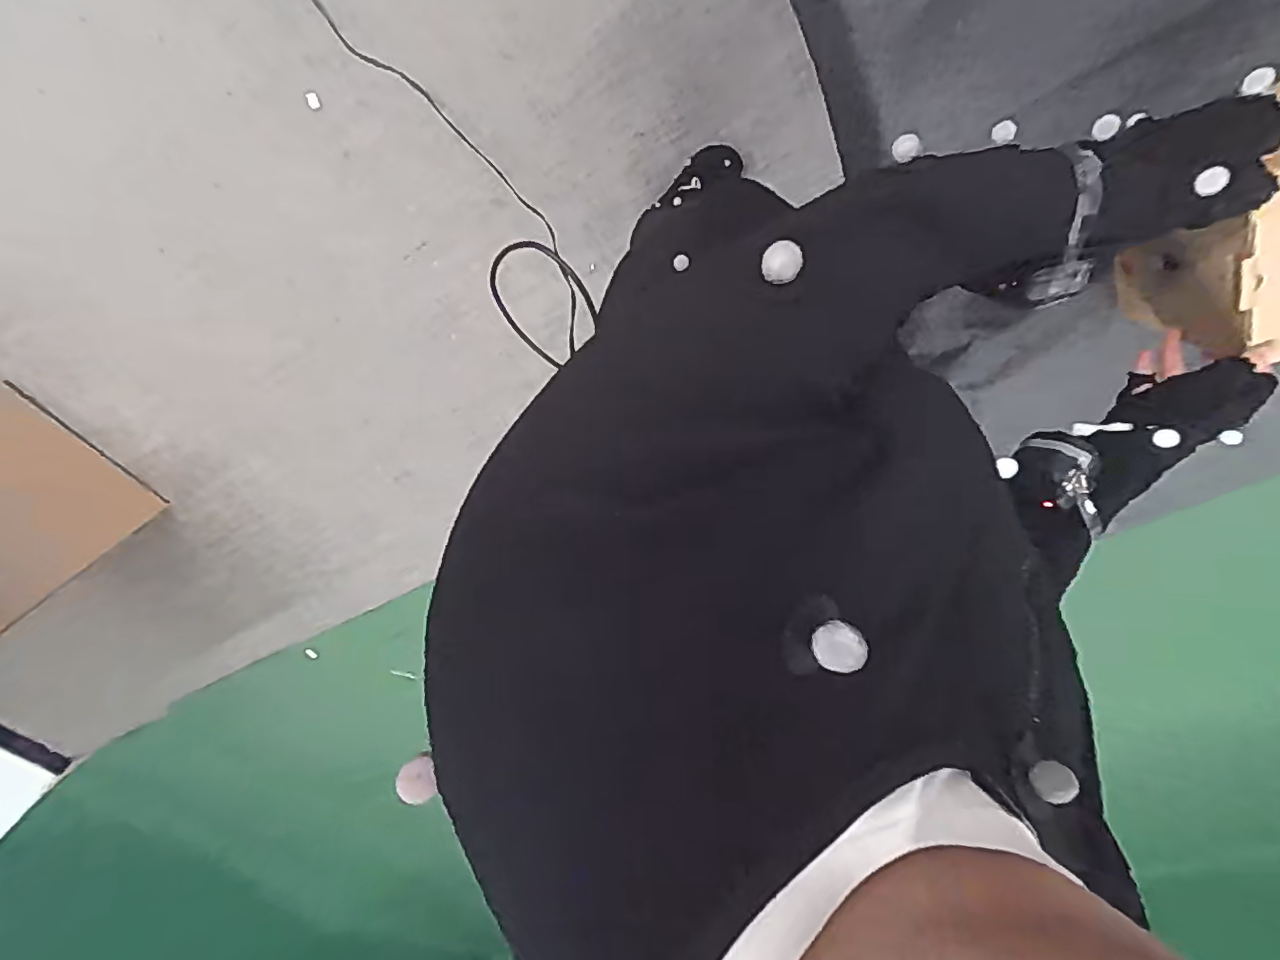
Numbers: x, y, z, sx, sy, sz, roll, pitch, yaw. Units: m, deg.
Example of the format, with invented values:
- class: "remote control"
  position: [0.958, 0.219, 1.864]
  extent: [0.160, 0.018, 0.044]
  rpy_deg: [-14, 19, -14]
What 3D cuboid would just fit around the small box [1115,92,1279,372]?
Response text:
- class: "small box"
  position: [0.555, -0.224, 0.467]
  extent: [0.179, 0.176, 0.168]
  rpy_deg: [-22, 118, 18]
